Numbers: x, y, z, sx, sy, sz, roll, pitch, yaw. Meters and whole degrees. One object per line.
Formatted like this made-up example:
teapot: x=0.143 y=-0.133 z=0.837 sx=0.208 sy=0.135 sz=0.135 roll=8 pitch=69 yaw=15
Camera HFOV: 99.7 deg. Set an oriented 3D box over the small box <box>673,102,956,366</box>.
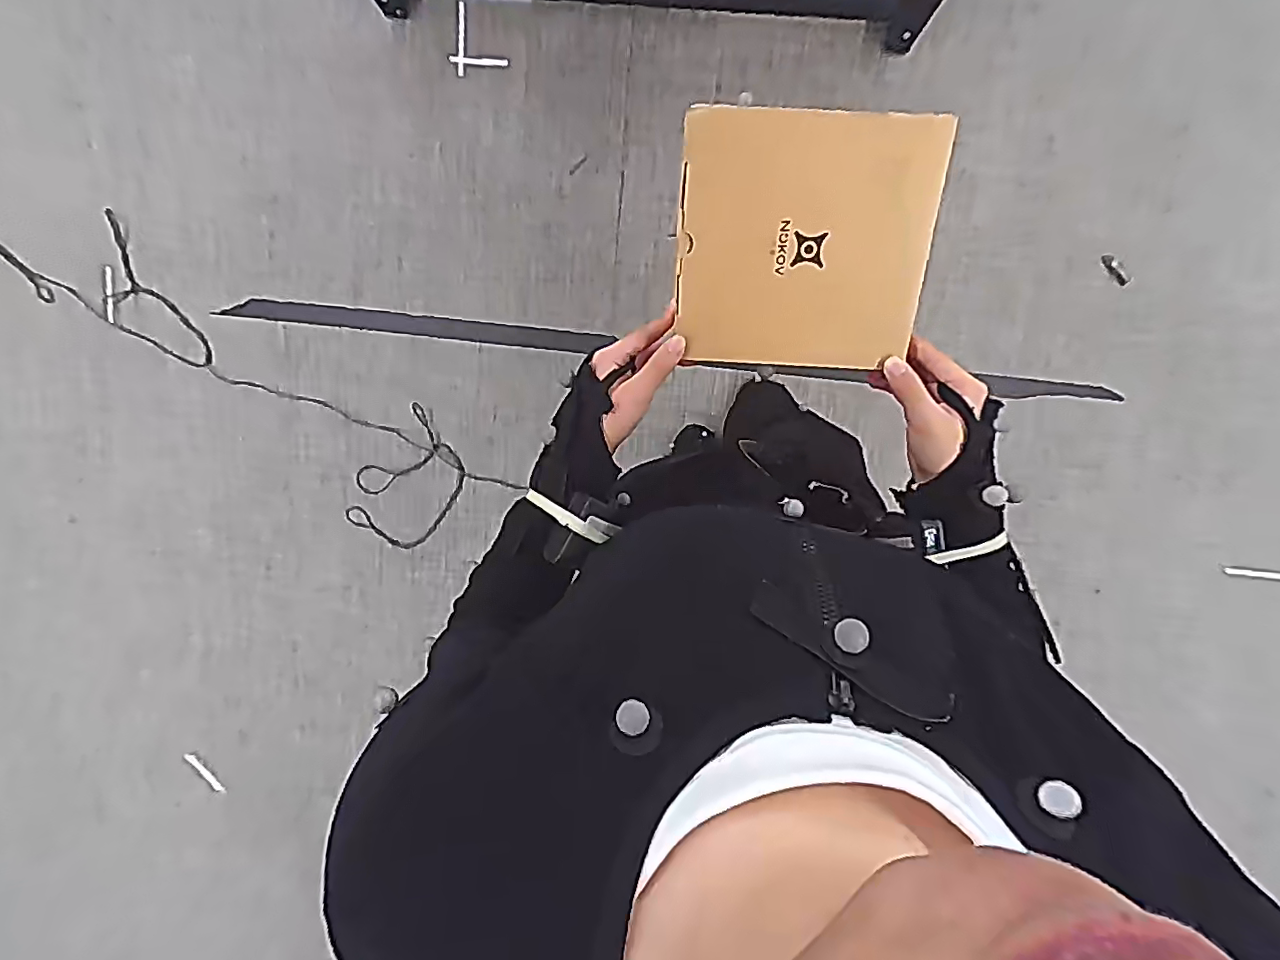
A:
small box: x=0.121 y=-0.198 z=0.456 sx=0.179 sy=0.176 sz=0.168 roll=4 pitch=112 yaw=3
